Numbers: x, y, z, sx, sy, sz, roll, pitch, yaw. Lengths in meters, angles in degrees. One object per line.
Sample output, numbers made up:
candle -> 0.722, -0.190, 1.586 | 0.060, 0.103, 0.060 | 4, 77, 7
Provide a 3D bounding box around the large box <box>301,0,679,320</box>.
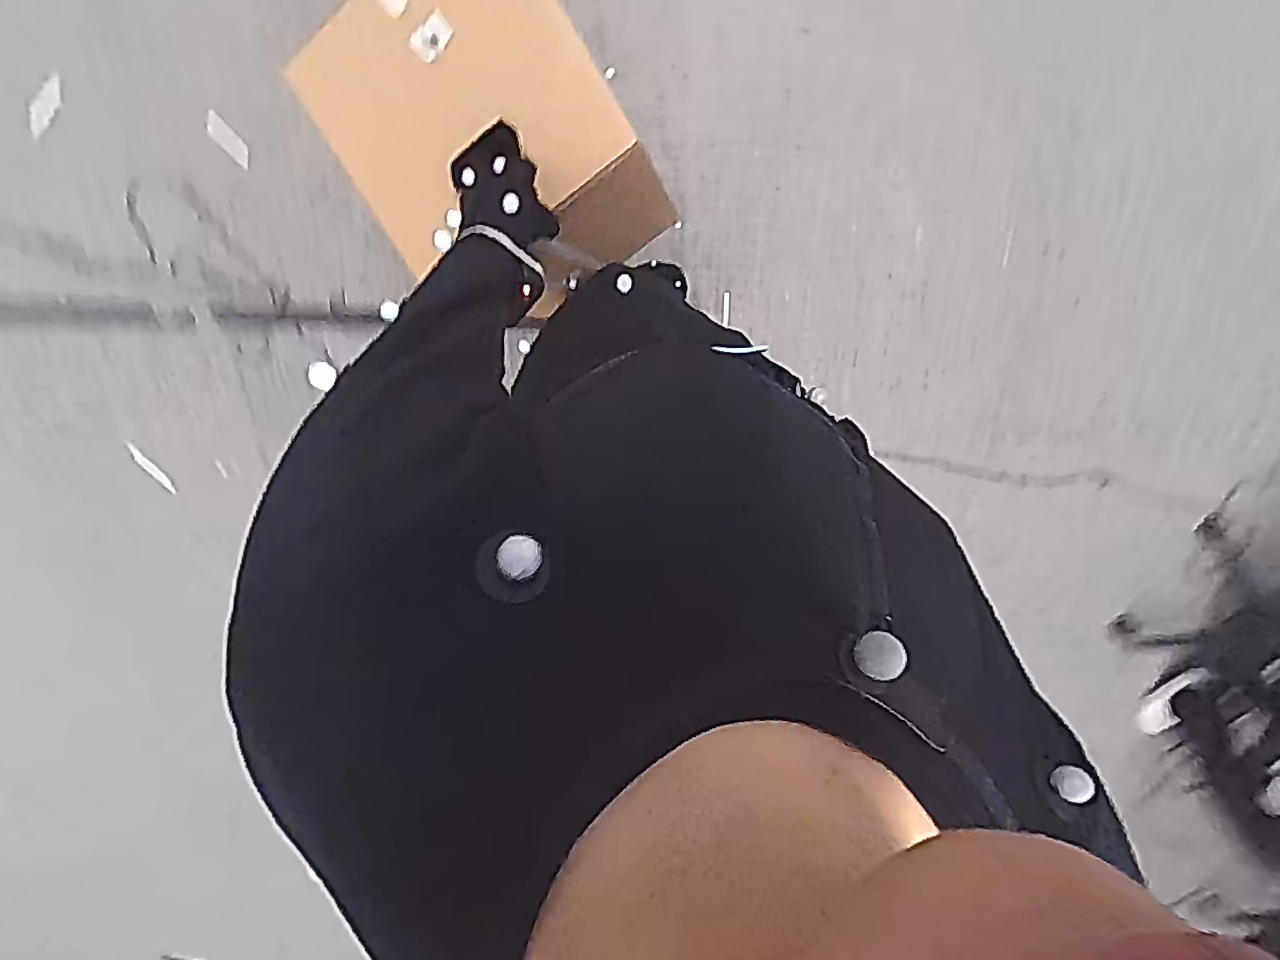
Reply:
large box -> -0.174, -0.458, 0.804 | 0.320, 0.408, 0.320 | -30, 99, 17
